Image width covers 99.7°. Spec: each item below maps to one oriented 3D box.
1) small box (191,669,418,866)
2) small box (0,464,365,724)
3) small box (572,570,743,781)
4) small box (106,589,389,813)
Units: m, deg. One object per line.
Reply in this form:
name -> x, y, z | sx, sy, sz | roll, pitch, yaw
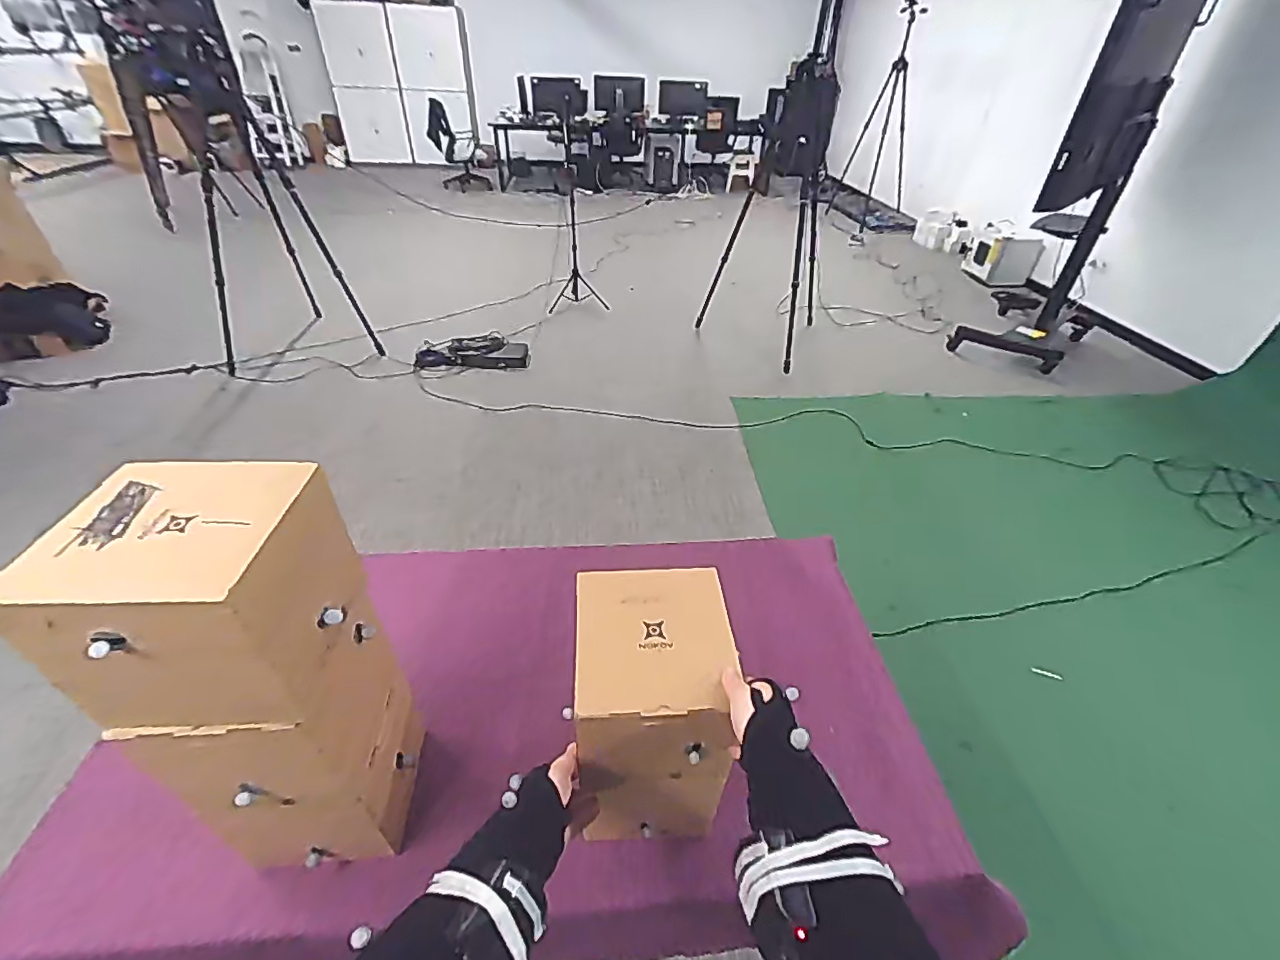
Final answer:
small box -> -0.398, 0.363, 0.687 | 0.179, 0.176, 0.168 | -2, 38, -6
small box -> -0.381, 0.101, 0.486 | 0.179, 0.176, 0.168 | 0, 39, -4
small box -> 0.010, 0.226, 0.620 | 0.168, 0.176, 0.179 | 0, 39, -5
small box -> -0.392, 0.231, 0.588 | 0.168, 0.176, 0.179 | -2, 39, -4
